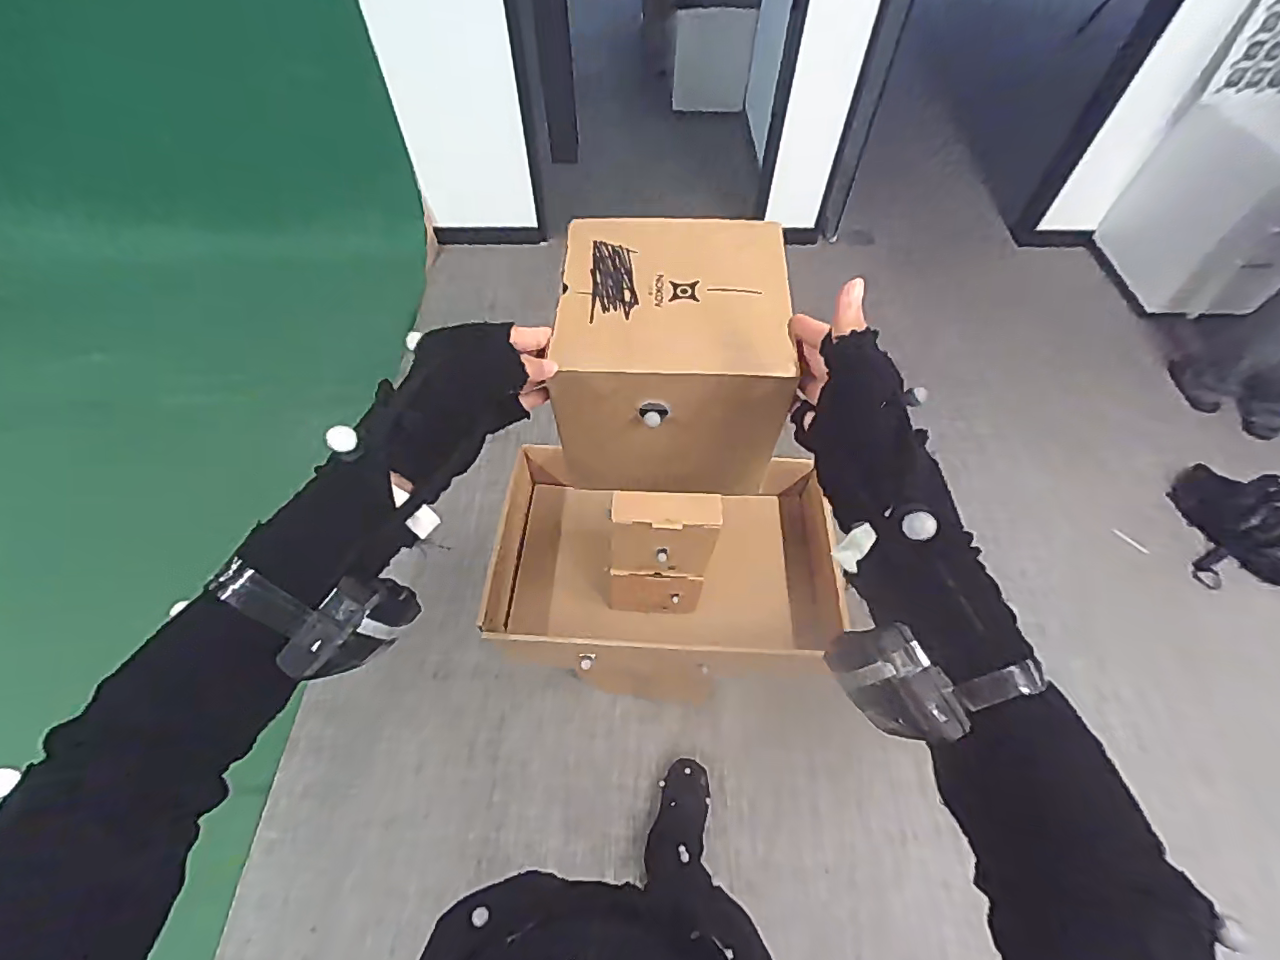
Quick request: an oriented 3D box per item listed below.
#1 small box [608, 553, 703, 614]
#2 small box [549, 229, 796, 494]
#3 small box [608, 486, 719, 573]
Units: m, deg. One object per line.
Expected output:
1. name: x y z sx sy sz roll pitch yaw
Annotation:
1. small box: 0.028 0.144 1.031 0.168 0.176 0.179 3 54 -1
2. small box: 0.027 -0.098 0.484 0.179 0.176 0.168 2 60 2
3. small box: 0.037 0.044 0.901 0.168 0.176 0.179 3 56 -1
